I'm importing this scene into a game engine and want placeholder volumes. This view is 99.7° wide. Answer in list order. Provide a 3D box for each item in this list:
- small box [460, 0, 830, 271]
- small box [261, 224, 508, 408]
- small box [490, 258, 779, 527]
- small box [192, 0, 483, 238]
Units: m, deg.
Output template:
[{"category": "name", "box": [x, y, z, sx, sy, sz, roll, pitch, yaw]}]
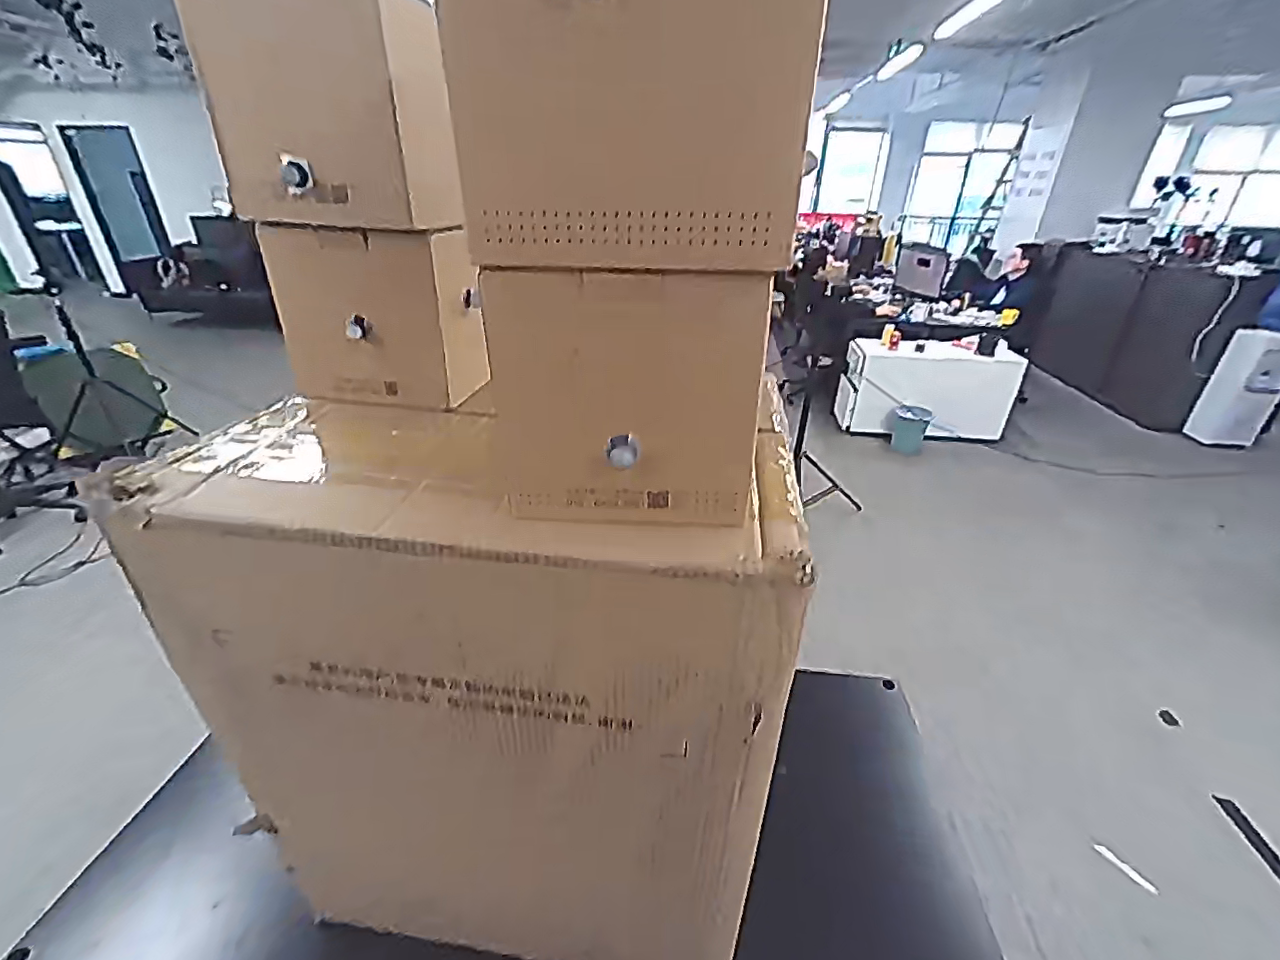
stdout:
[{"category": "small box", "box": [0.007, -0.221, 0.316, 0.179, 0.176, 0.168, 4, 30, 6]}, {"category": "small box", "box": [-0.249, -0.186, 0.583, 0.168, 0.176, 0.179, 6, 29, 5]}, {"category": "small box", "box": [0.002, -0.084, 0.408, 0.168, 0.176, 0.179, 2, 30, 5]}, {"category": "small box", "box": [-0.243, -0.322, 0.491, 0.168, 0.176, 0.179, 5, 29, 7]}]
